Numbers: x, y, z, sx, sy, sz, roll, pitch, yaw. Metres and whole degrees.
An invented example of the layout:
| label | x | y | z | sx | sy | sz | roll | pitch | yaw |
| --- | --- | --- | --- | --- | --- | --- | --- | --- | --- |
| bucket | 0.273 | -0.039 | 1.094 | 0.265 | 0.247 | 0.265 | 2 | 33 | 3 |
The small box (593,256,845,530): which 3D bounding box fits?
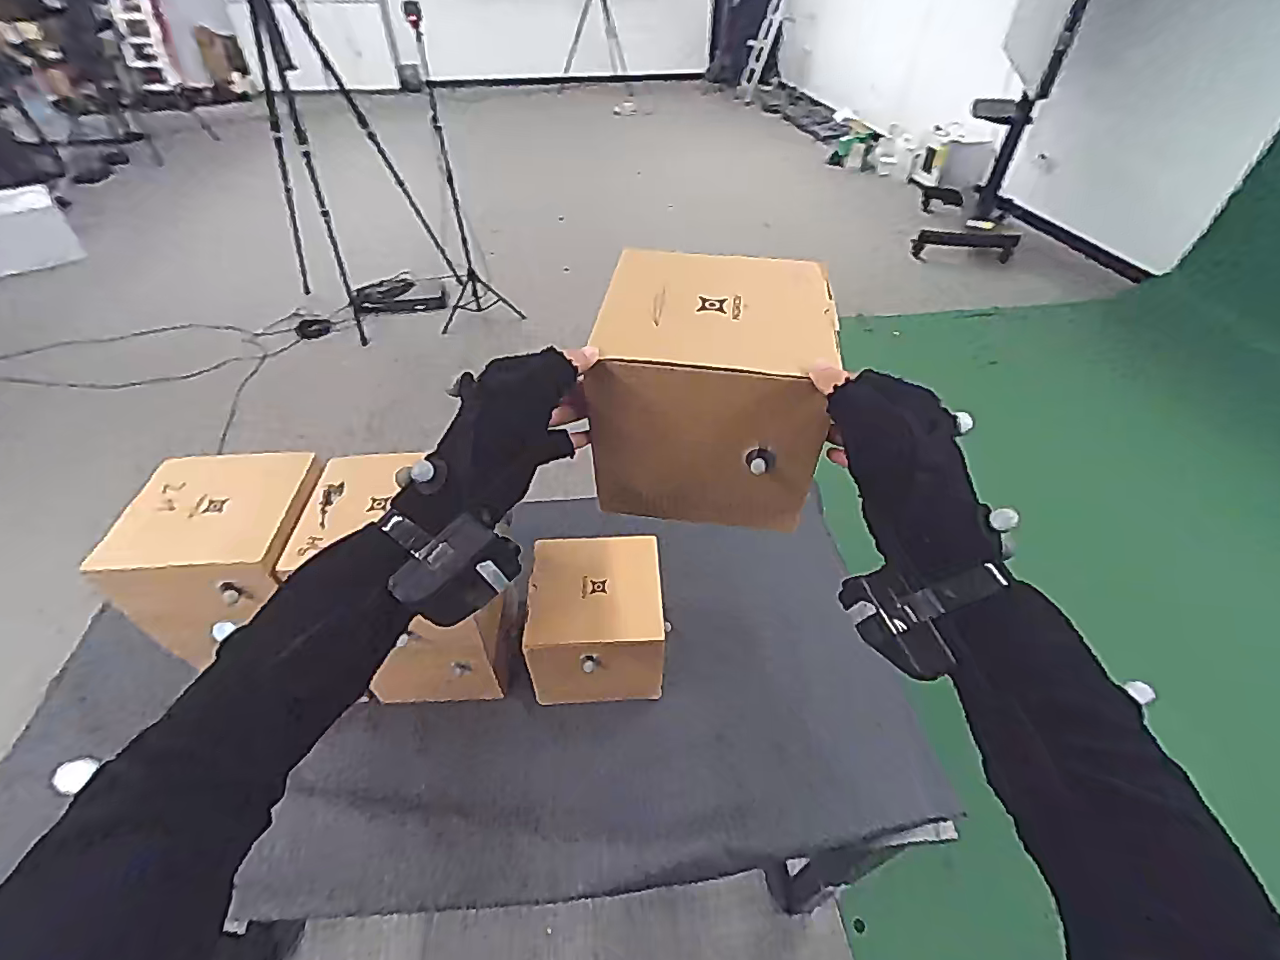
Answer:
| label | x | y | z | sx | sy | sz | roll | pitch | yaw |
| --- | --- | --- | --- | --- | --- | --- | --- | --- | --- |
| small box | 0.064 | -0.074 | 0.480 | 0.179 | 0.176 | 0.168 | 7 | 47 | 6 |
